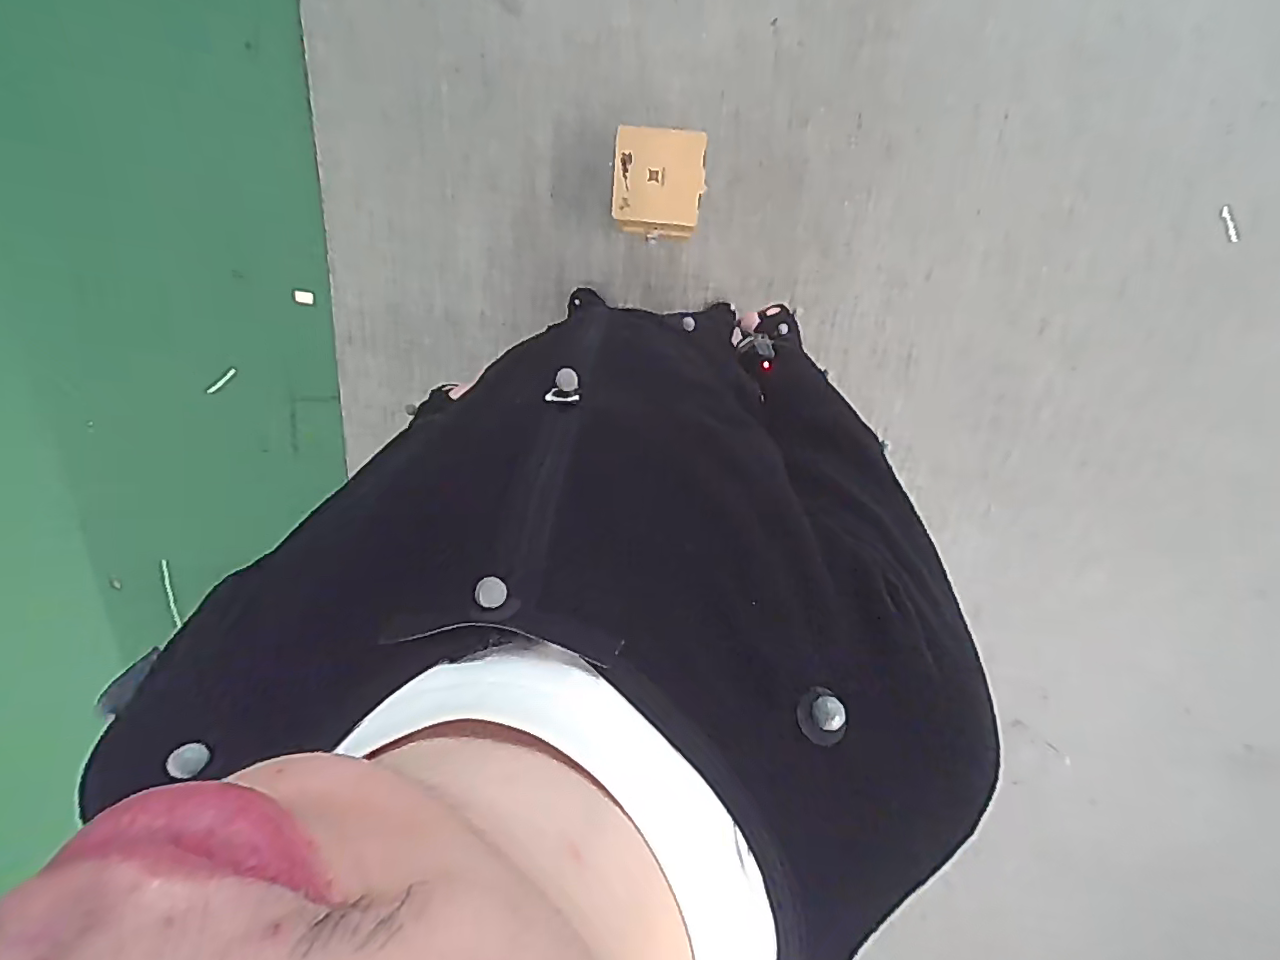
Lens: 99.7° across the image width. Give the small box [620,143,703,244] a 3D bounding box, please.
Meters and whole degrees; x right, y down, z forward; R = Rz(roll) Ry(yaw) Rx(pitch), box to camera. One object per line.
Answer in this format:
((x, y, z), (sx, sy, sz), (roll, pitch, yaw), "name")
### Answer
((0.049, -0.667, 1.274), (0.168, 0.176, 0.179), (8, 111, 1), "small box")
